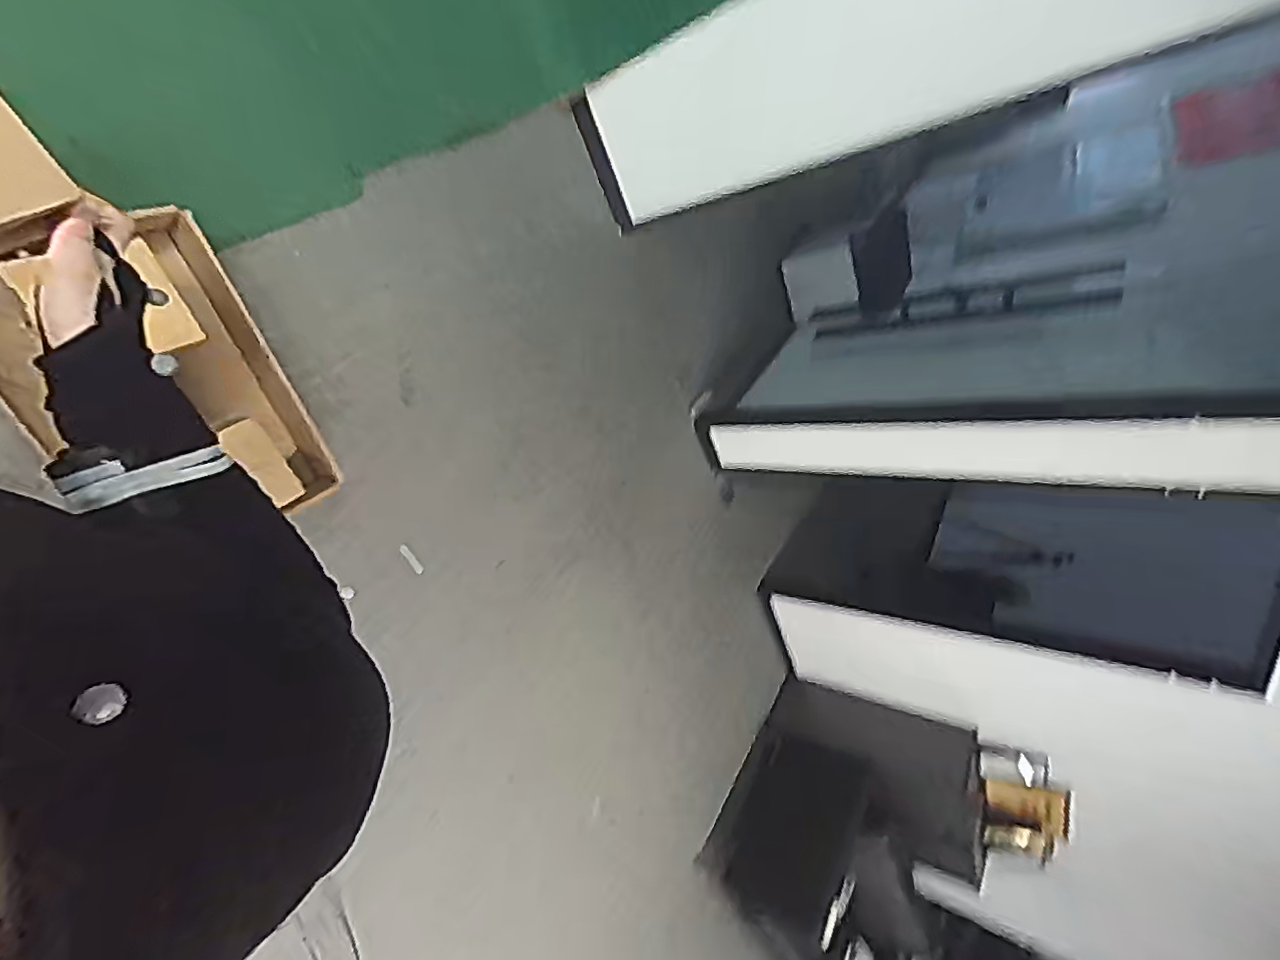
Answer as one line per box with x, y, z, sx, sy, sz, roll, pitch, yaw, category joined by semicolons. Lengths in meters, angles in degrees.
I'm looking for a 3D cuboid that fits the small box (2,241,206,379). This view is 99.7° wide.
-0.867;-0.272;0.879;0.179;0.176;0.168;-40;123;-39;small box

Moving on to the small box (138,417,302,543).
-0.780;-0.005;1.002;0.179;0.176;0.168;-42;123;-39;small box
